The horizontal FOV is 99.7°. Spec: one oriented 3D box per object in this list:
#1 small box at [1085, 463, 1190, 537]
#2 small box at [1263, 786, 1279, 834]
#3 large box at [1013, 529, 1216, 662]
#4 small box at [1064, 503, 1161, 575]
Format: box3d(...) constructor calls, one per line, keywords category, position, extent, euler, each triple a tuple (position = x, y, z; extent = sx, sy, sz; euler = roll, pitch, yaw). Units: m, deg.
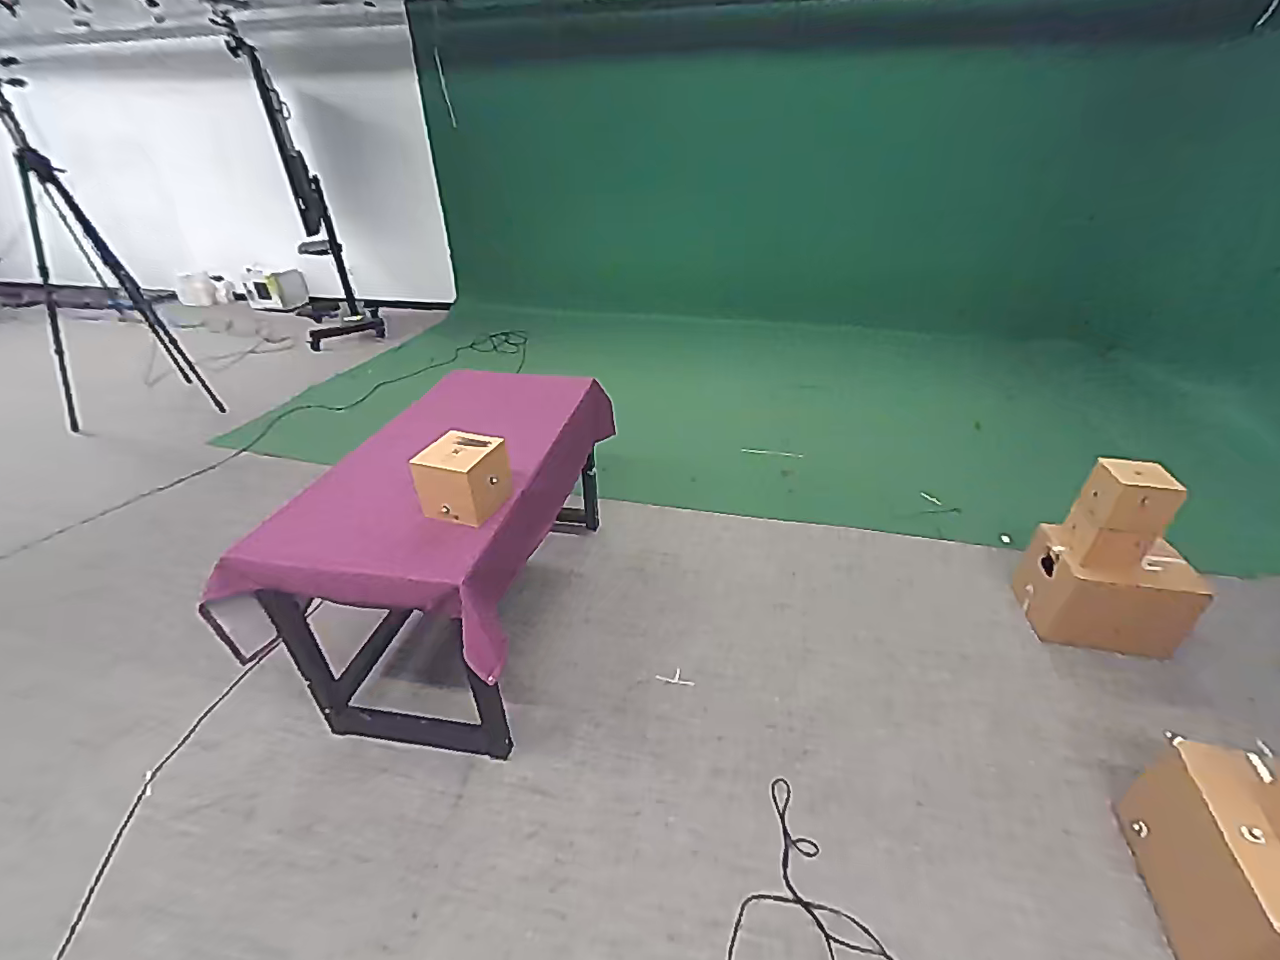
box3d(category="small box", position=(1.574, 0.064, 1.730), extent=(0.179, 0.176, 0.168), euler=(8, 34, 11))
box3d(category="small box", position=(1.398, 0.693, 1.045), extent=(0.168, 0.176, 0.179), euler=(14, 35, 17))
box3d(category="large box", position=(1.666, 0.410, 1.948), extent=(0.408, 0.320, 0.320), euler=(7, 33, 10))
box3d(category="small box", position=(1.578, 0.200, 1.825), extent=(0.179, 0.176, 0.168), euler=(8, 33, 11))
